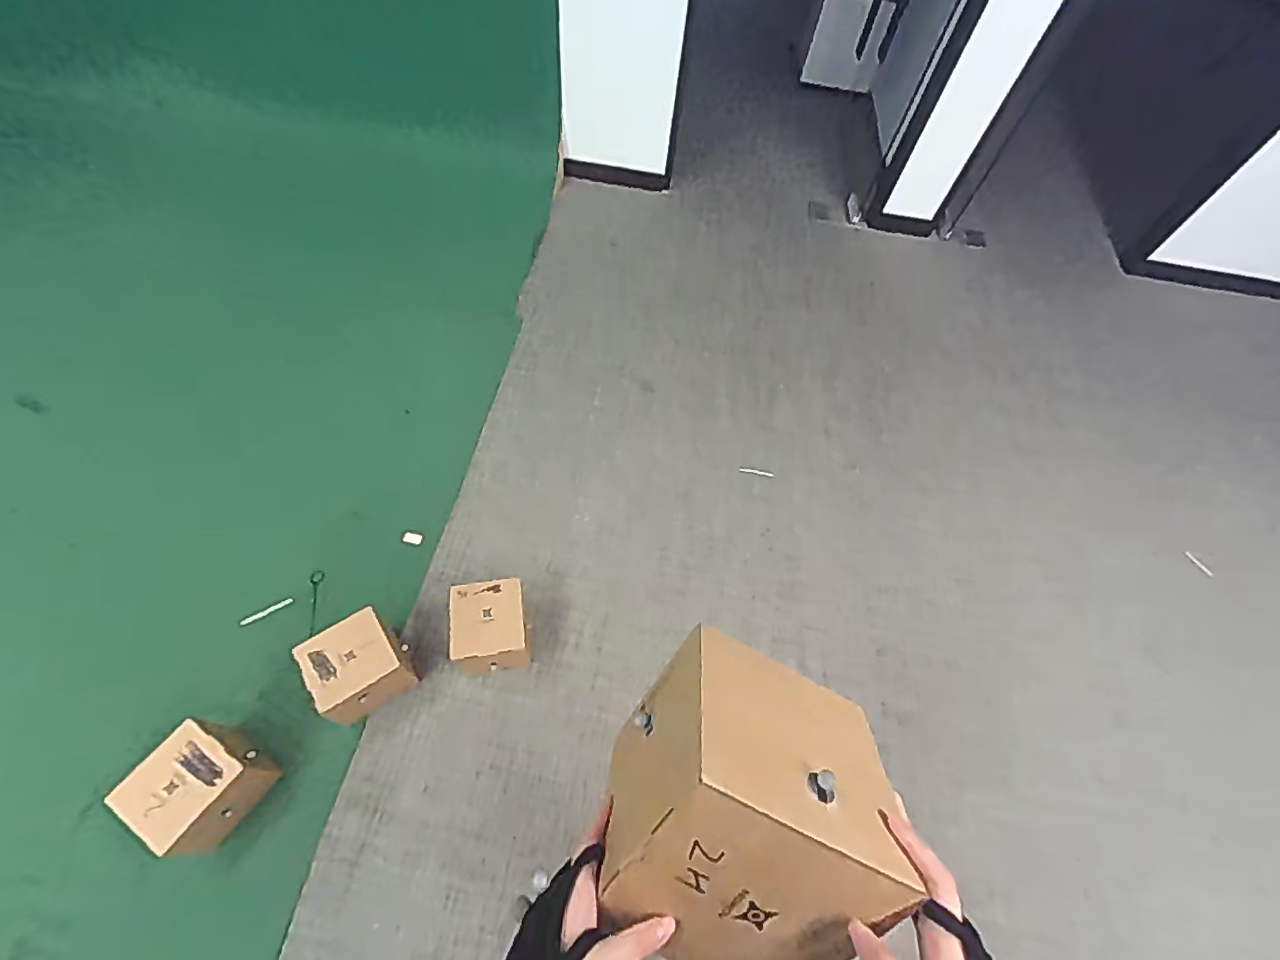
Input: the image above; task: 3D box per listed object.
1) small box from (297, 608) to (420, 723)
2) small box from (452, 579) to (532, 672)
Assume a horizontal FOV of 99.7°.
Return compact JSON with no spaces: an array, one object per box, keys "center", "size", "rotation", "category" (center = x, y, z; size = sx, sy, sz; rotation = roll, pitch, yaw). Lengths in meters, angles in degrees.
[{"center":[-0.638,0.431,1.243],"size":[0.179,0.176,0.168],"rotation":[-31,66,-22],"category":"small box"},{"center":[-0.356,0.360,1.315],"size":[0.168,0.176,0.179],"rotation":[-6,60,-9],"category":"small box"}]
